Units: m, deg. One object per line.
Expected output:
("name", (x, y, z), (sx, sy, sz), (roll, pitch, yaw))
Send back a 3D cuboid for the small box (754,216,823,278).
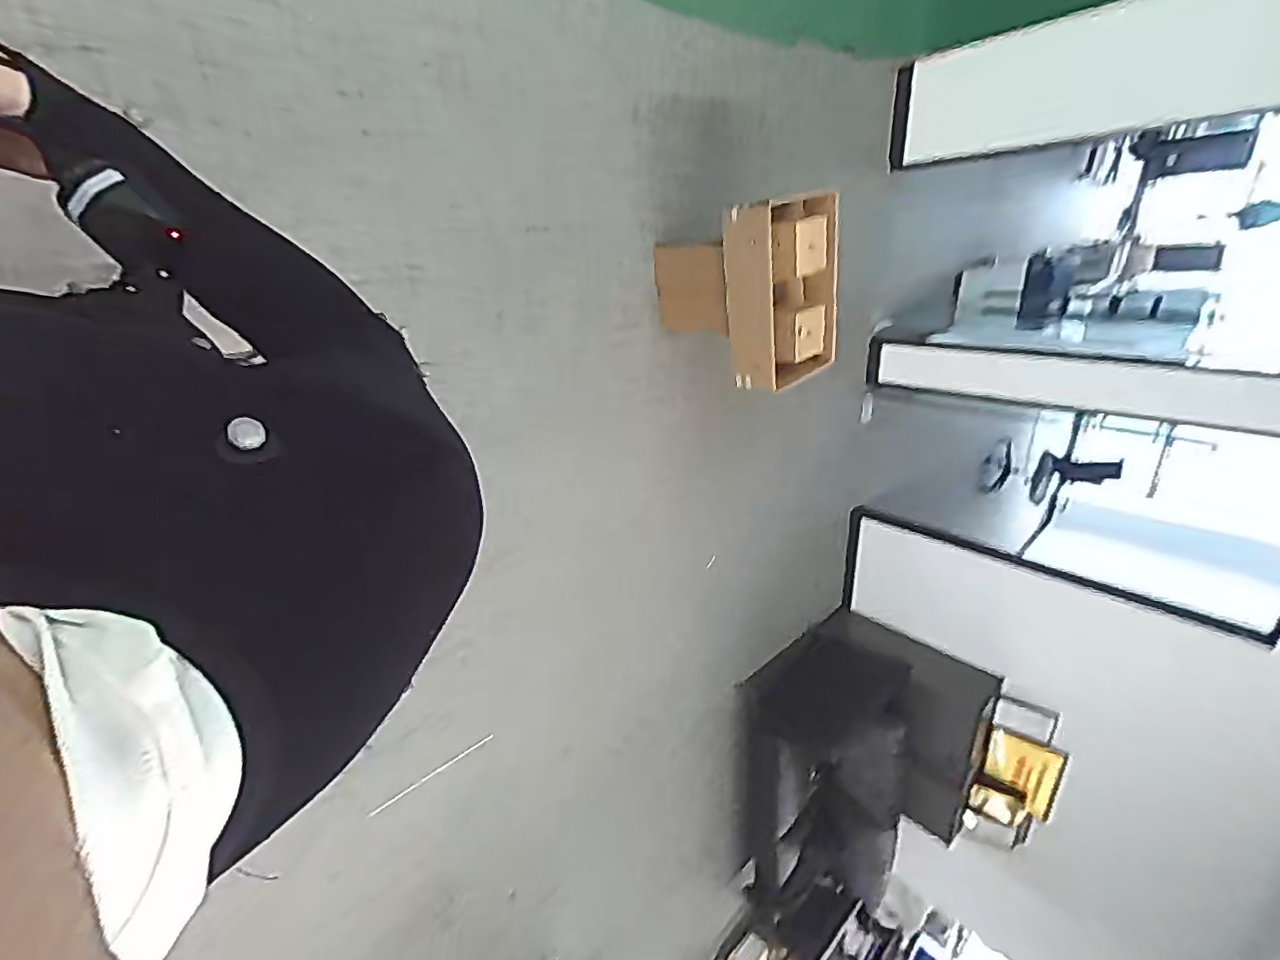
("small box", (0.497, -0.782, 1.821), (0.179, 0.176, 0.168), (-29, 123, -34))
